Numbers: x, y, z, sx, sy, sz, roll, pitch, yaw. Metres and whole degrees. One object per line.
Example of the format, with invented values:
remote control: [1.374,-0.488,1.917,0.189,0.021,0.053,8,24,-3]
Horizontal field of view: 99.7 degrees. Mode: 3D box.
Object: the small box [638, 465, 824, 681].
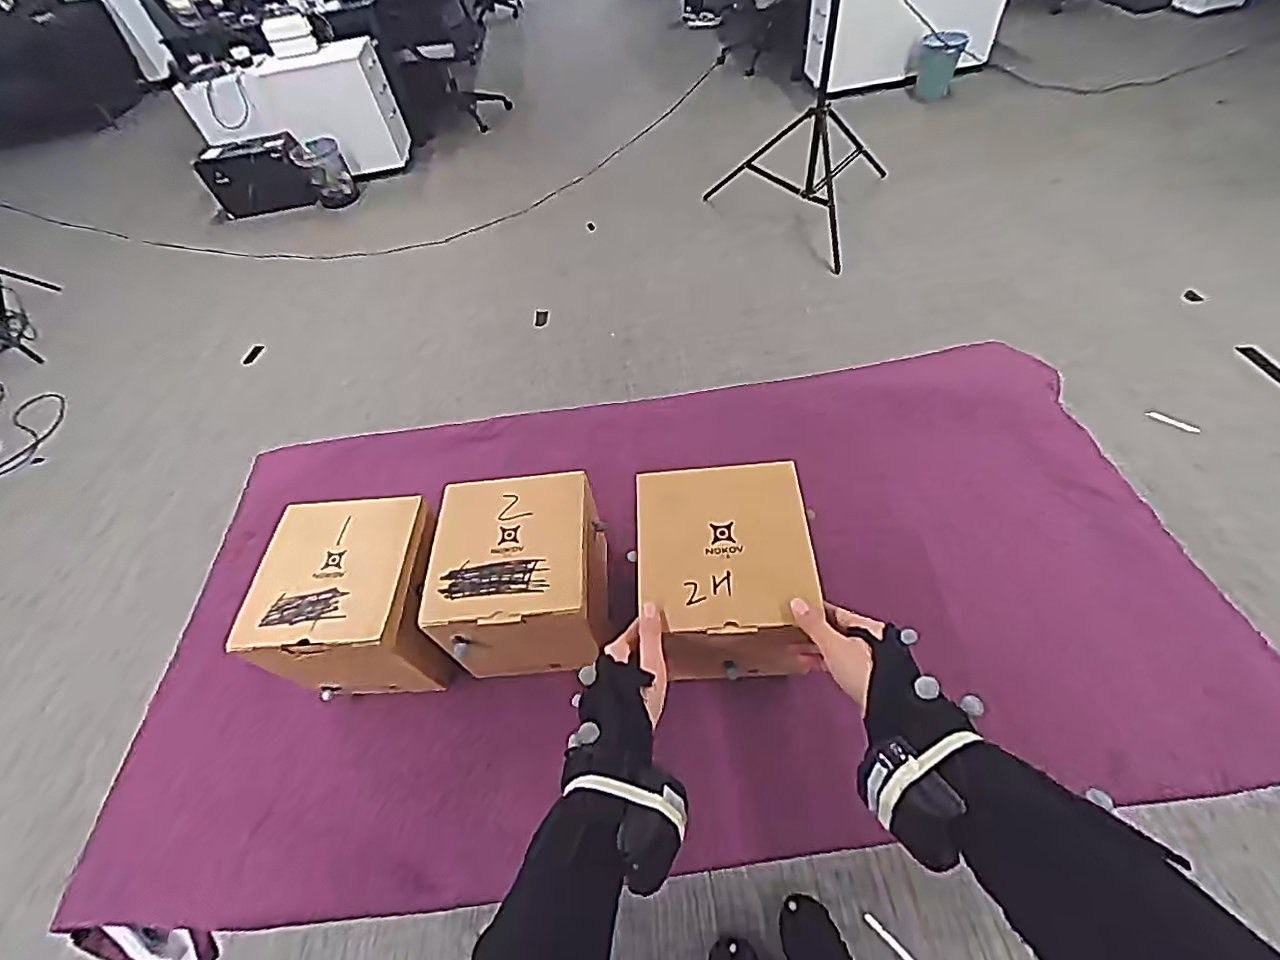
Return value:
small box: [0.089,0.105,0.585,0.168,0.176,0.179,-5,56,6]
